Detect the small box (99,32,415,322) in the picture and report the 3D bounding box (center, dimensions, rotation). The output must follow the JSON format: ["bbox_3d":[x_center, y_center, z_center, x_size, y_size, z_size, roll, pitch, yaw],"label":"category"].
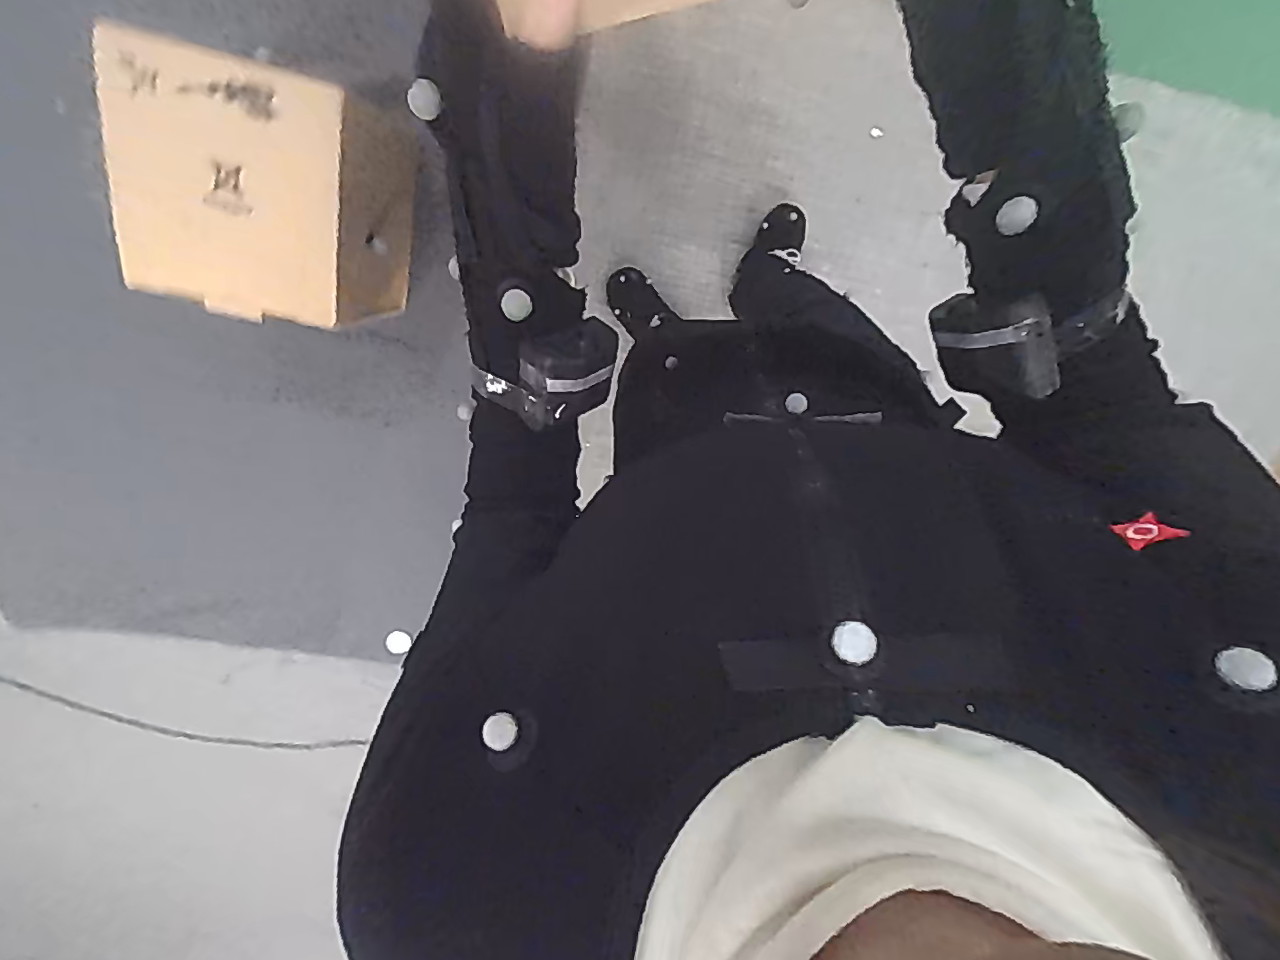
[{"bbox_3d":[-0.317,-0.255,0.492,0.168,0.176,0.179,9,112,-5],"label":"small box"}]
